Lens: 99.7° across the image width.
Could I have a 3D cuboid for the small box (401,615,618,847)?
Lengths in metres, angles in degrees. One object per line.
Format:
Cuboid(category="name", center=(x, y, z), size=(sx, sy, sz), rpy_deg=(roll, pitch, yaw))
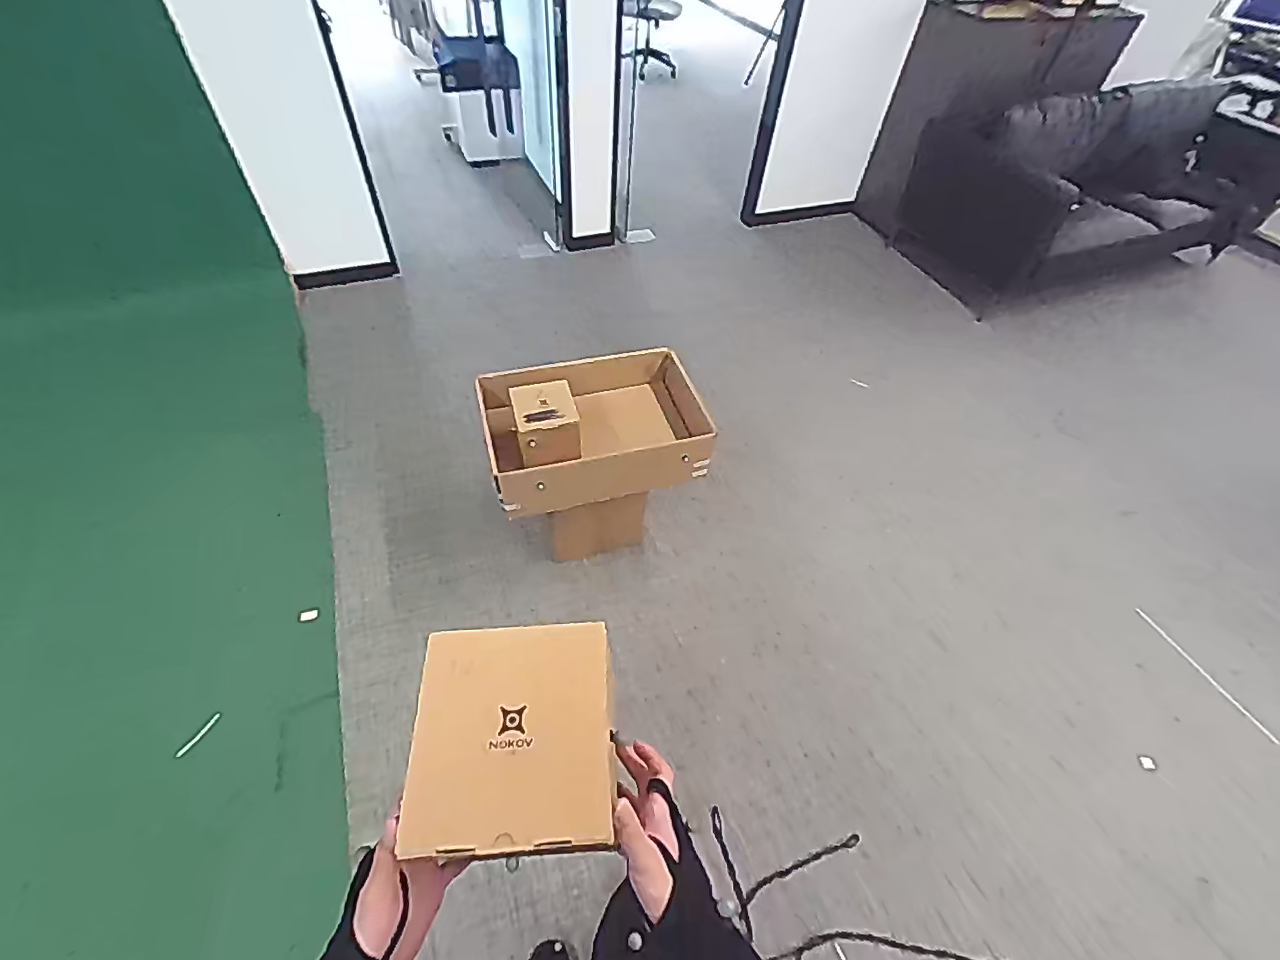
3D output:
Cuboid(category="small box", center=(-0.107, 0.247, 0.527), size=(0.168, 0.176, 0.179), rpy_deg=(-3, 56, -2))
